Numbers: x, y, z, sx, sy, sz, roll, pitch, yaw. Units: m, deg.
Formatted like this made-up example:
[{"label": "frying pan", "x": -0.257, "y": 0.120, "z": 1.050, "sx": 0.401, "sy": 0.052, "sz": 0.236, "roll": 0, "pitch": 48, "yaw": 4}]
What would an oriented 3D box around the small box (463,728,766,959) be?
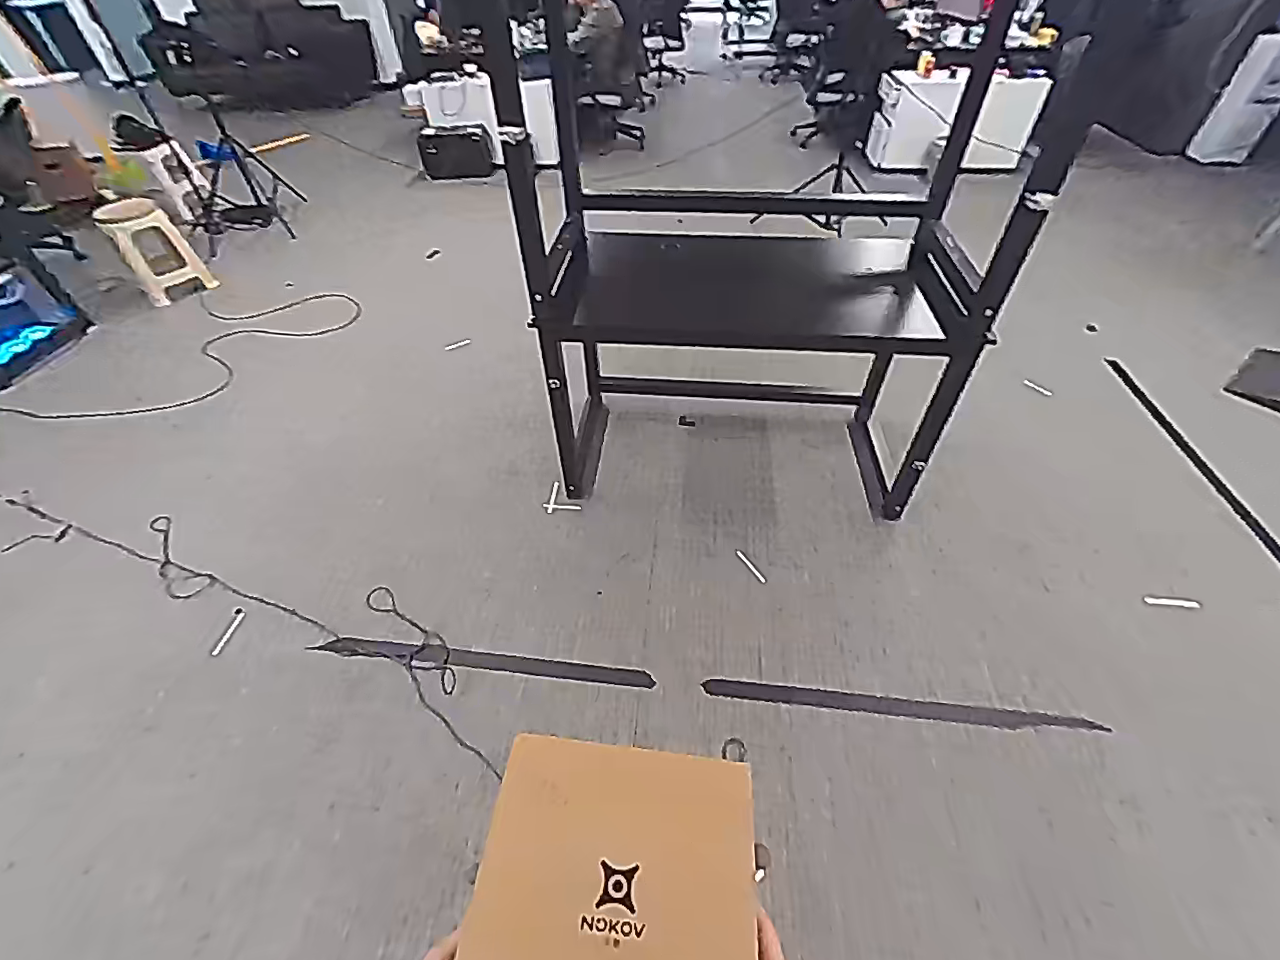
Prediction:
[{"label": "small box", "x": -0.013, "y": 0.299, "z": 0.368, "sx": 0.168, "sy": 0.176, "sz": 0.179, "roll": 6, "pitch": 44, "yaw": 4}]
